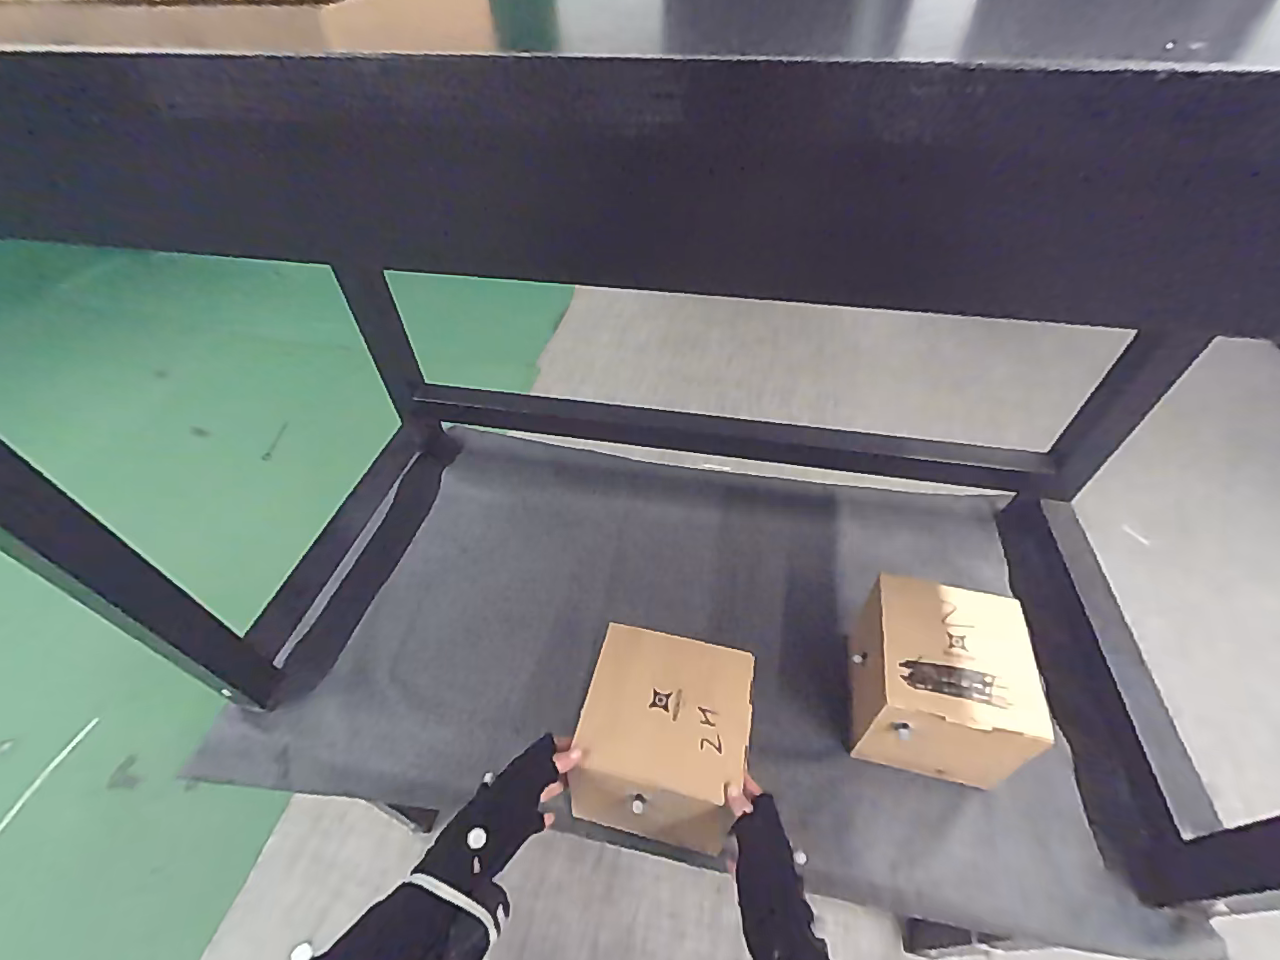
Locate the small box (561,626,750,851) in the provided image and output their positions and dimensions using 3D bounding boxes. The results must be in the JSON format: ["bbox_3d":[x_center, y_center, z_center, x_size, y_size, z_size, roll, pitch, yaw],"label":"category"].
[{"bbox_3d":[0.021,0.303,0.634,0.179,0.176,0.168,11,43,9],"label":"small box"}]

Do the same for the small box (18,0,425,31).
[{"bbox_3d":[-0.190,-0.300,0.219,0.168,0.176,0.179,7,46,7],"label":"small box"}]
